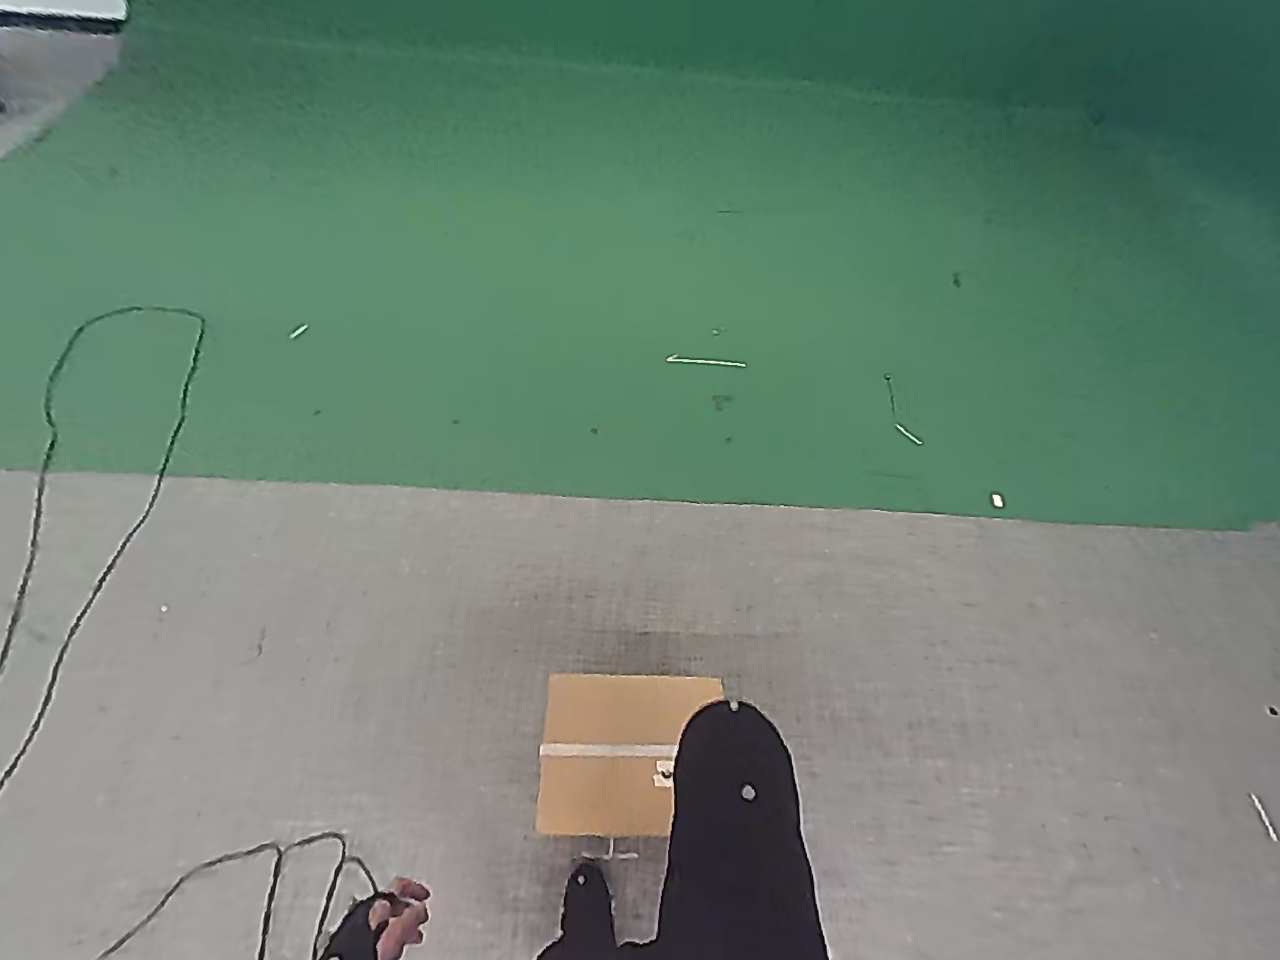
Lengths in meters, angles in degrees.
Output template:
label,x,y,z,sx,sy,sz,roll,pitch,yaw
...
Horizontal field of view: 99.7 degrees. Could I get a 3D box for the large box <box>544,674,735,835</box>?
label,x,y,z,sx,sy,sz,roll,pitch,yaw
large box,-0.015,0.668,1.308,0.408,0.320,0.320,2,58,-4
